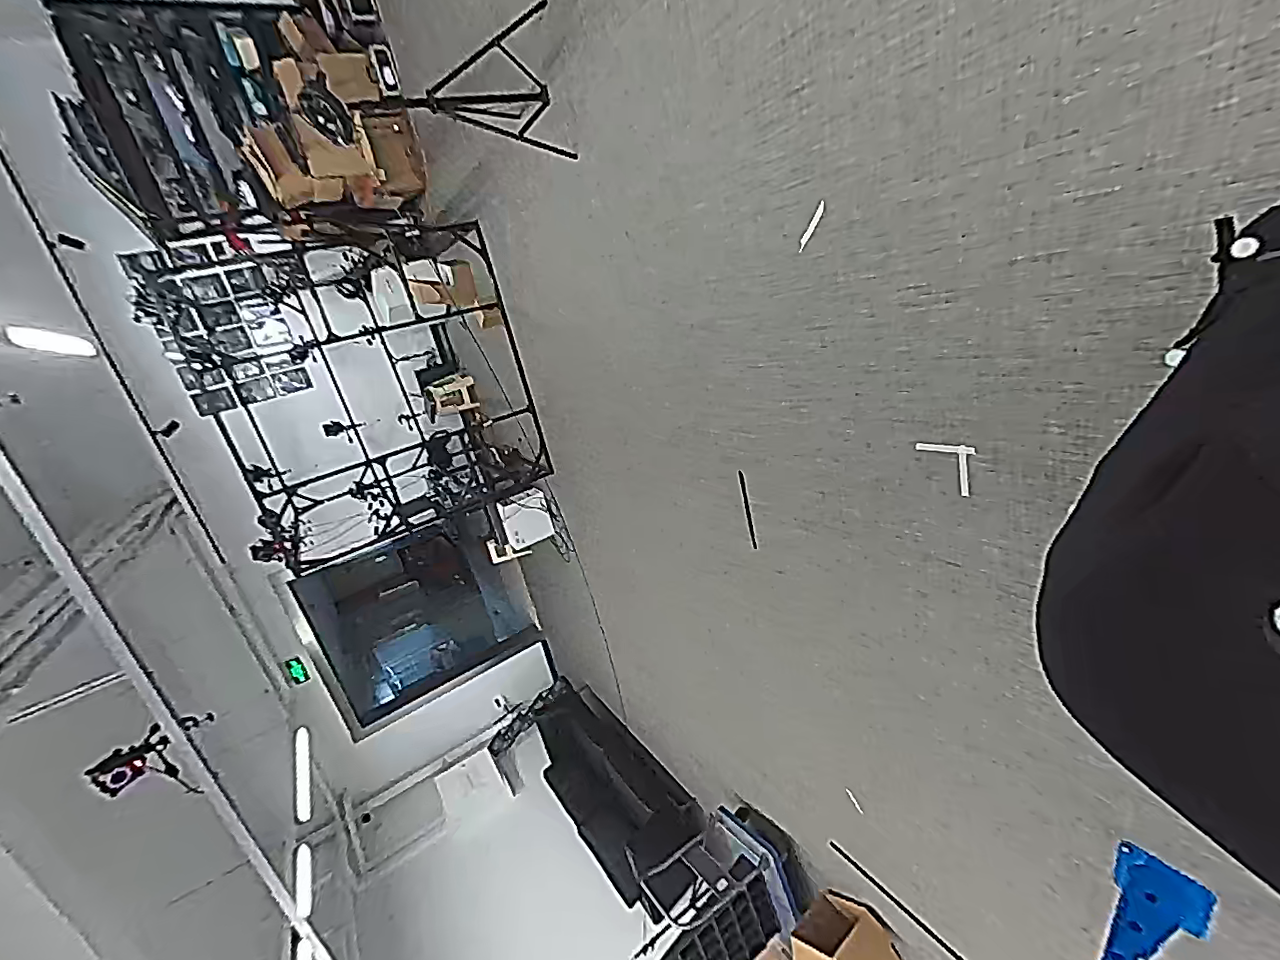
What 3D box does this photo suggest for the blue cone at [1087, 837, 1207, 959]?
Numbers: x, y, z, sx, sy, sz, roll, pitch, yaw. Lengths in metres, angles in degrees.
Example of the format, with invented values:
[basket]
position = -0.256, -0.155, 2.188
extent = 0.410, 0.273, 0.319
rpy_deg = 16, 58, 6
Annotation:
[blue cone]
position = 1.323, 1.192, 1.454
extent = 0.192, 0.380, 0.193
rpy_deg = 26, 133, 54
